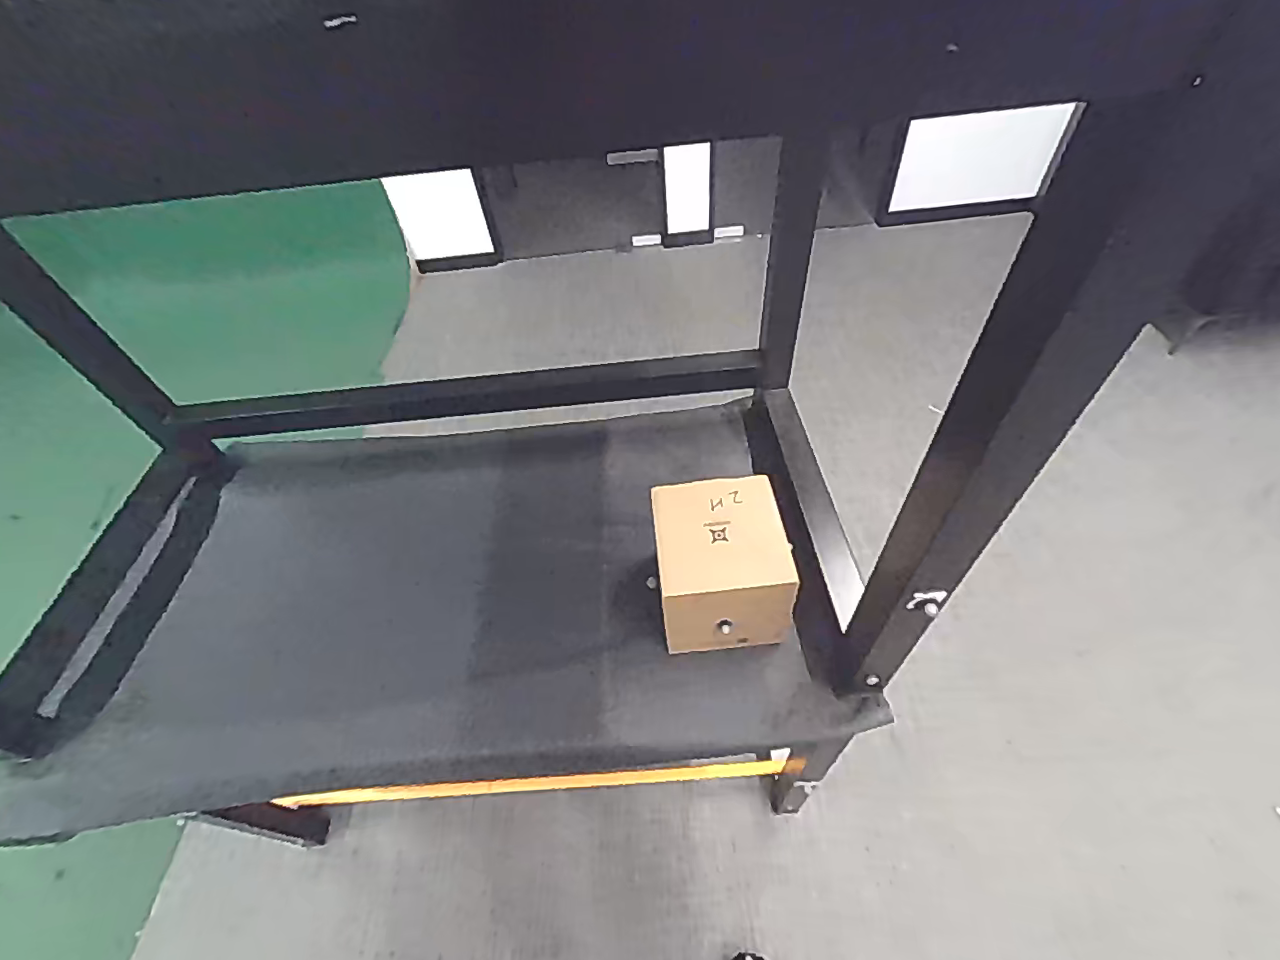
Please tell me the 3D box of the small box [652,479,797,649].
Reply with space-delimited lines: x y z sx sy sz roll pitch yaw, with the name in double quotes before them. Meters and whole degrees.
"small box" 0.110 0.124 0.759 0.168 0.176 0.179 -6 49 1
